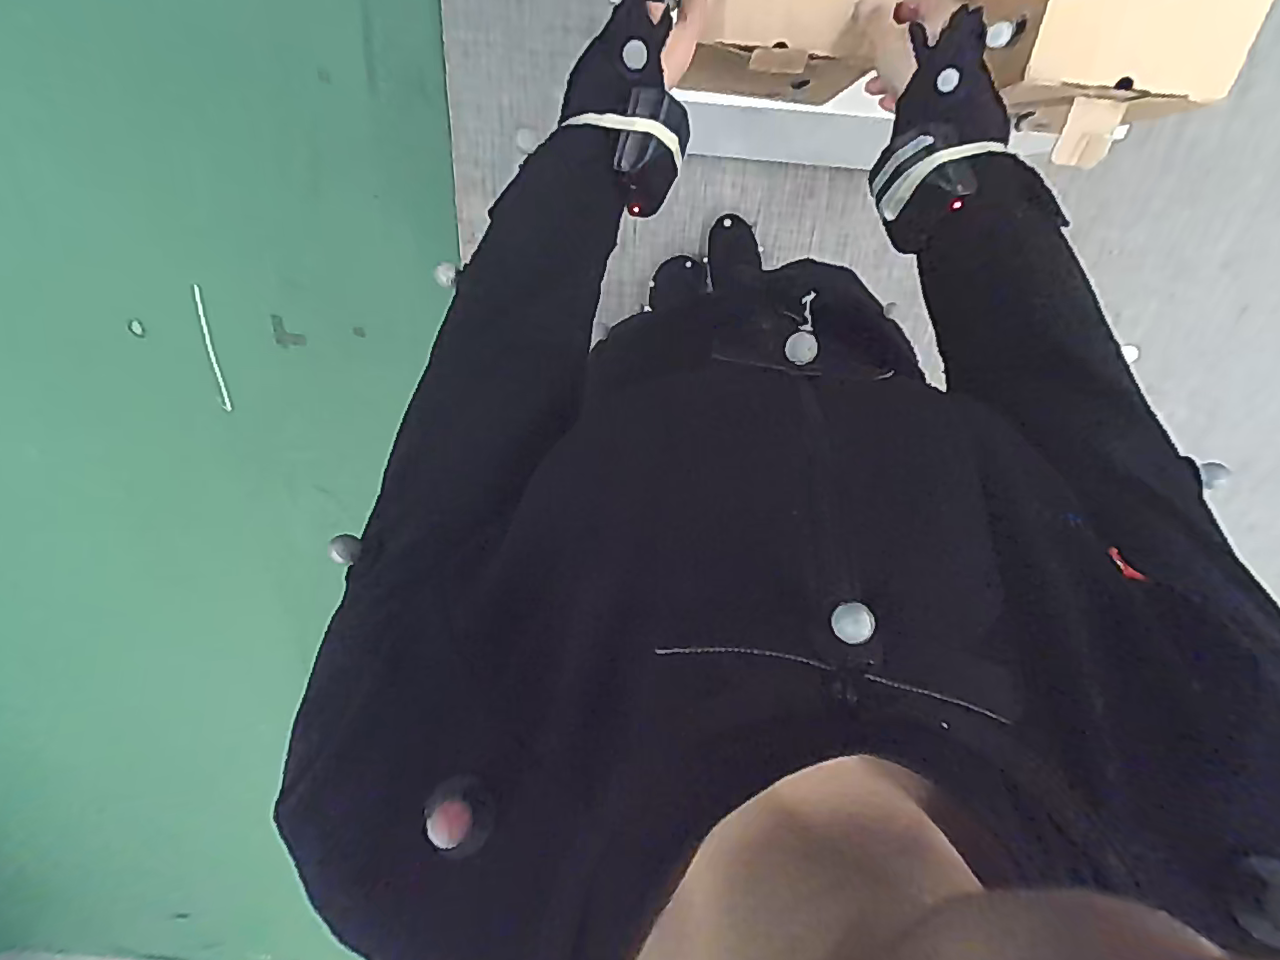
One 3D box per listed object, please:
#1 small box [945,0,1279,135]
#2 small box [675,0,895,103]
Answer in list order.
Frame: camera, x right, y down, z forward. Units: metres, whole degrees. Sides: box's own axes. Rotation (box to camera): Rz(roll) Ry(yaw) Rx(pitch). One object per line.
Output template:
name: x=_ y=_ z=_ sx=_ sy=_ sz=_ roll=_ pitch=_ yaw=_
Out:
small box: x=0.398 y=-0.419 z=0.463 sx=0.168 sy=0.176 sz=0.179 roll=6 pitch=115 yaw=0
small box: x=0.122 y=-0.448 z=0.465 sx=0.168 sy=0.176 sz=0.179 roll=6 pitch=115 yaw=-2
